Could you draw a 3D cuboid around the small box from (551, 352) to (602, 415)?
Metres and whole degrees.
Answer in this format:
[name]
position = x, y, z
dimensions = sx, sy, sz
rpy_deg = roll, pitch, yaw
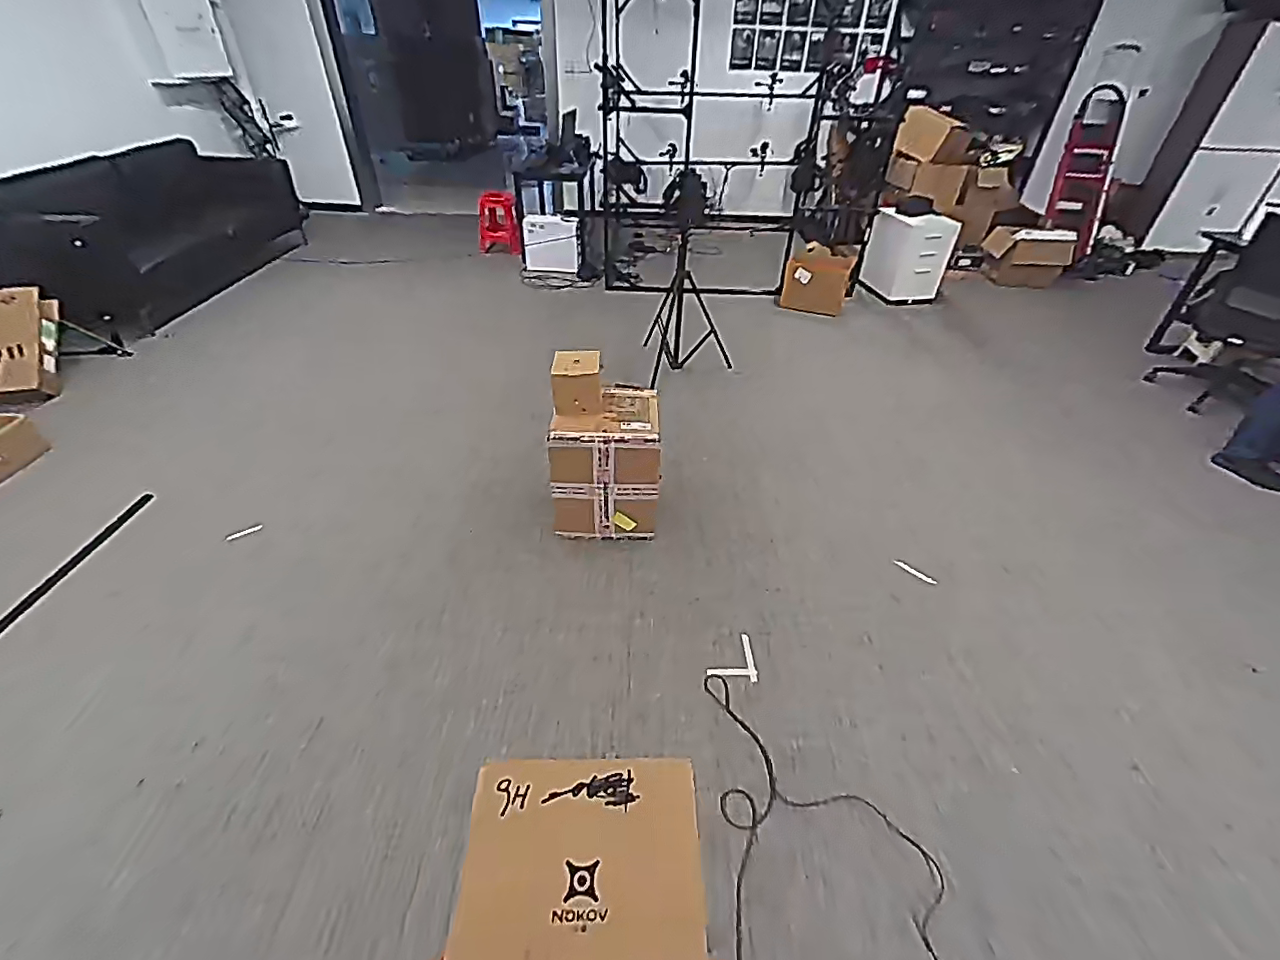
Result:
[small box]
position = -0.227, -0.352, 1.973
dimensions = 0.168, 0.176, 0.179
rpy_deg = -2, 41, 0
